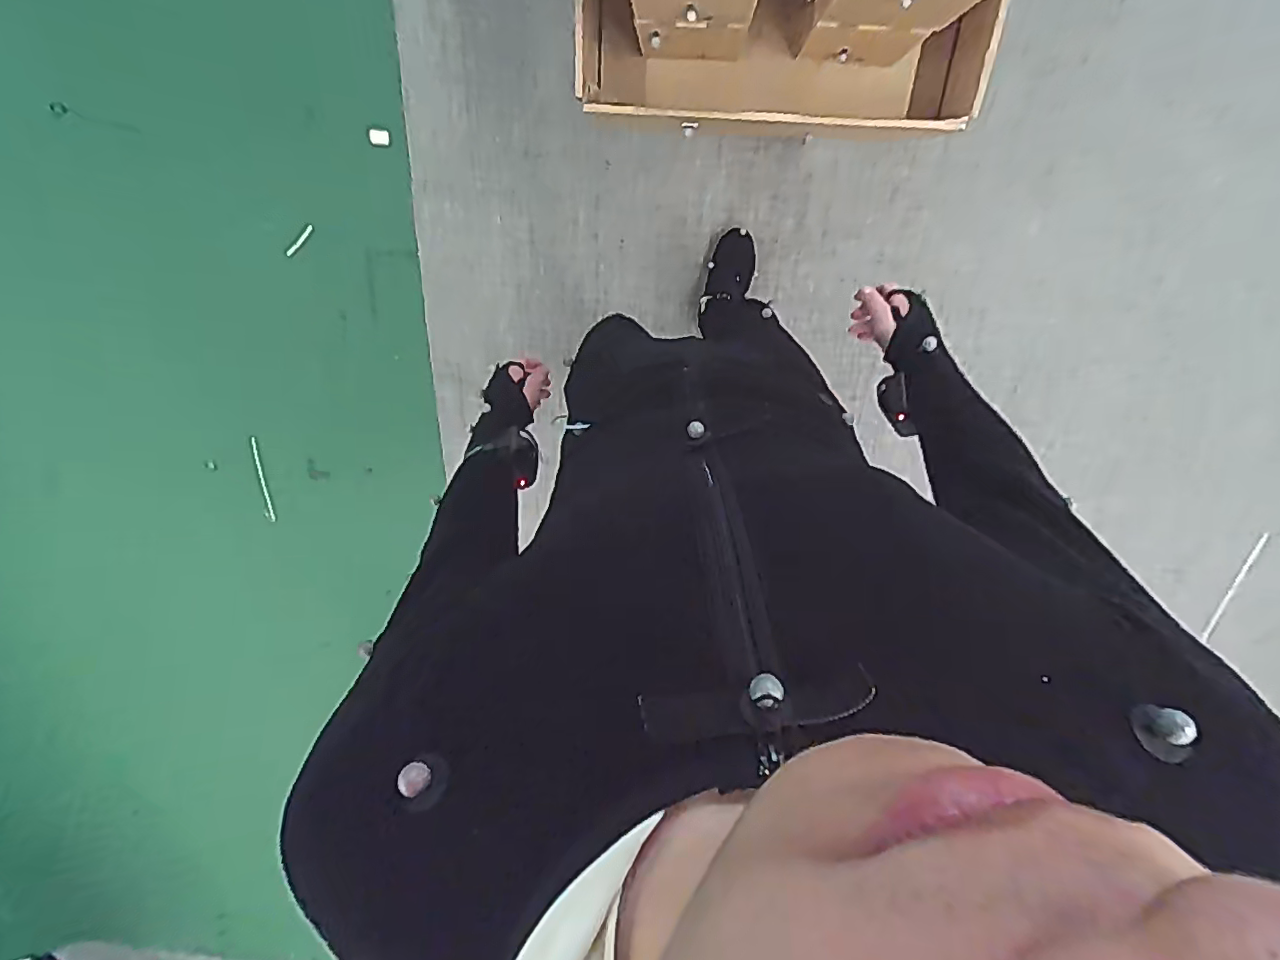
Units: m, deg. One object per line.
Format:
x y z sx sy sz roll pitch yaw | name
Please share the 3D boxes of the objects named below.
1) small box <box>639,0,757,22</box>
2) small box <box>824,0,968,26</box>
0.076 -0.696 0.651 0.168 0.176 0.179 5 115 3 | small box
0.336 -0.673 0.642 0.179 0.176 0.168 6 116 1 | small box
